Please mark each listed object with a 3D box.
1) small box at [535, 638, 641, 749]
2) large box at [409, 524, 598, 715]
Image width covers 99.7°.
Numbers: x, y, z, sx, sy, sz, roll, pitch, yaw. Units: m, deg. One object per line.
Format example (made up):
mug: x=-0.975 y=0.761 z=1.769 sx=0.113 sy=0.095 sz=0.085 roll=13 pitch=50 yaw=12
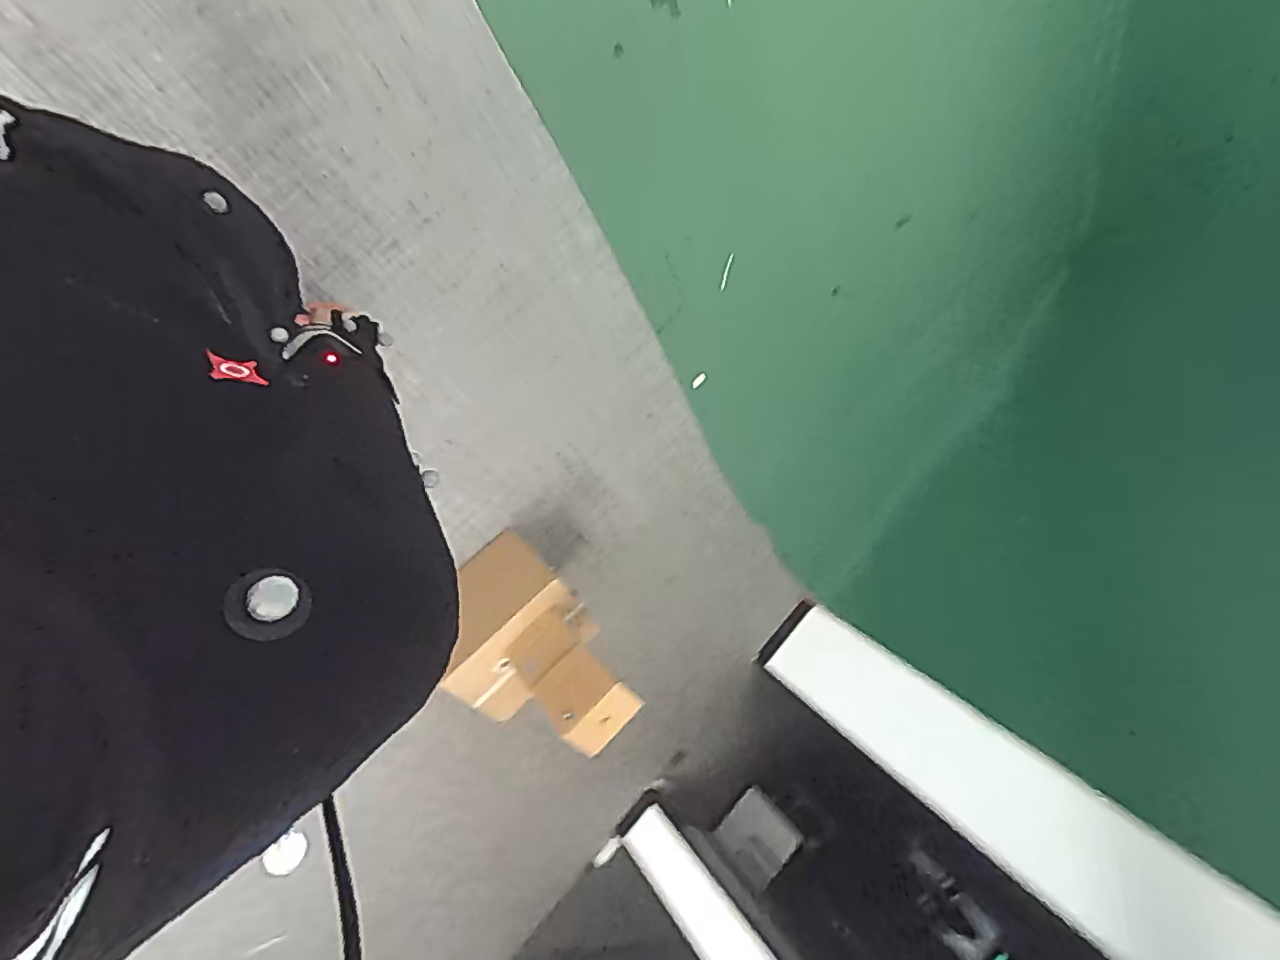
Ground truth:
small box: x=-0.133 y=0.536 z=1.373 sx=0.179 sy=0.176 sz=0.168 roll=-44 pitch=135 yaw=-12
large box: x=-0.411 y=0.415 z=1.652 sx=0.408 sy=0.320 sz=0.320 roll=-42 pitch=134 yaw=-13
